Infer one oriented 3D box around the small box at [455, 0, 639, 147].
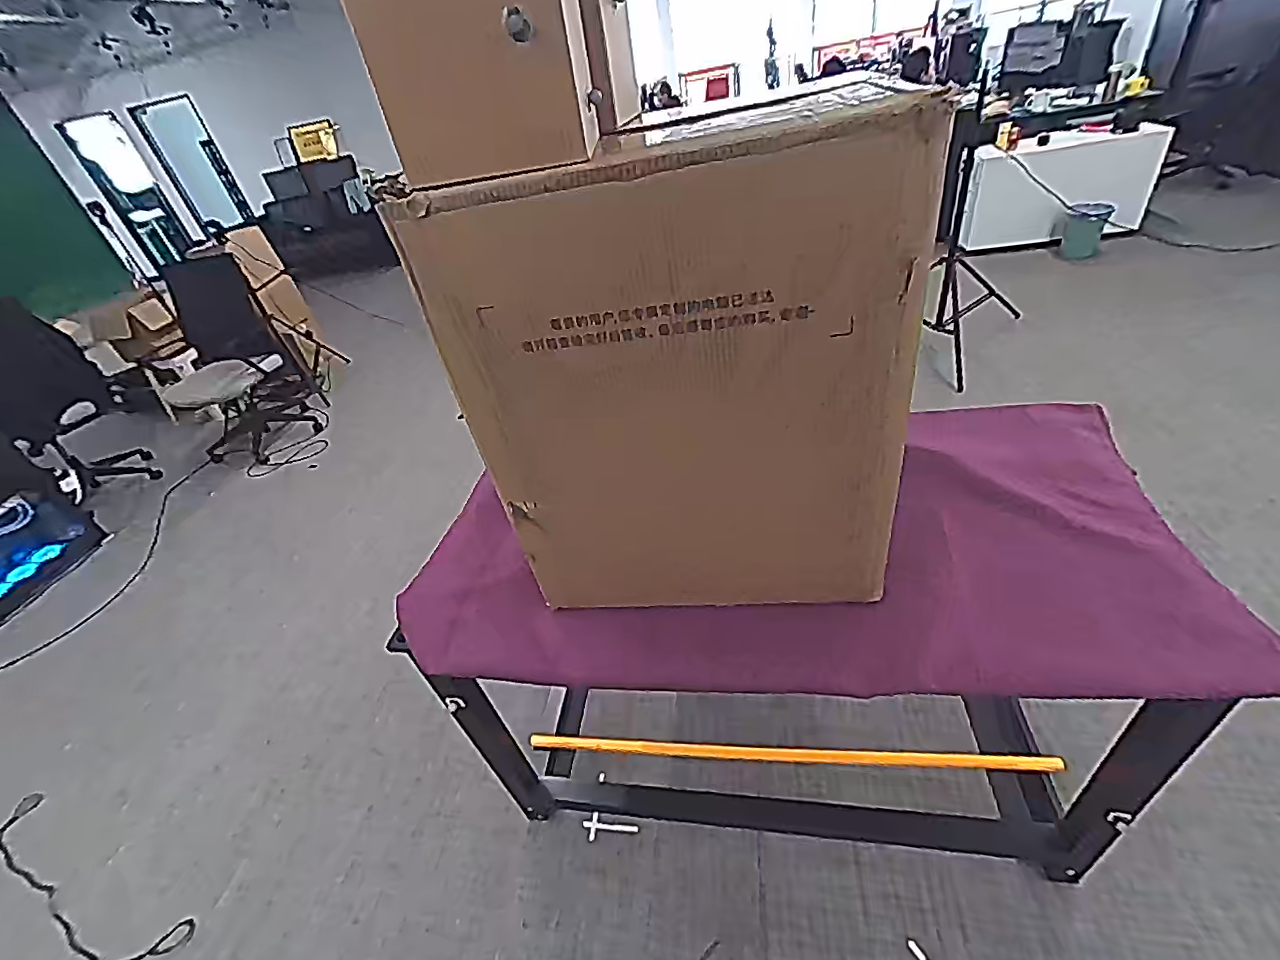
[{"bbox_3d":[-0.102,-0.535,0.686,0.168,0.176,0.179,0,38,13],"label":"small box"}]
